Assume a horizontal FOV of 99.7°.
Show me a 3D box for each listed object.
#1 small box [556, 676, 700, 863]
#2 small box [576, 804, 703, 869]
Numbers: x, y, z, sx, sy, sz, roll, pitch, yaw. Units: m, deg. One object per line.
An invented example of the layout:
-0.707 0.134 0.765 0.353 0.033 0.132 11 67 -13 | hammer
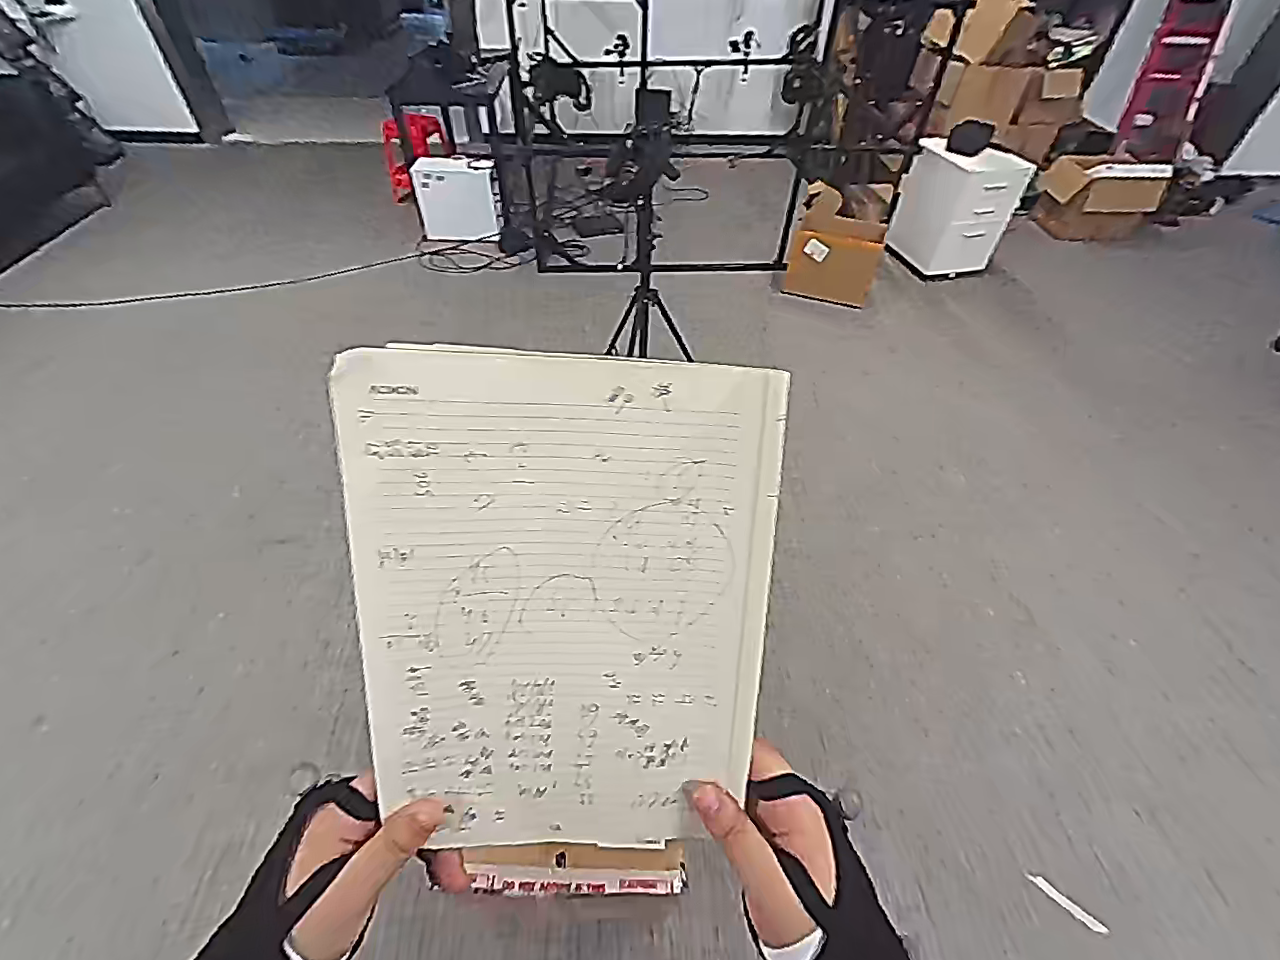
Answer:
-0.015 0.382 0.712 0.168 0.176 0.179 5 49 -1 | small box
-0.006 0.491 0.837 0.179 0.176 0.168 2 48 -3 | small box
